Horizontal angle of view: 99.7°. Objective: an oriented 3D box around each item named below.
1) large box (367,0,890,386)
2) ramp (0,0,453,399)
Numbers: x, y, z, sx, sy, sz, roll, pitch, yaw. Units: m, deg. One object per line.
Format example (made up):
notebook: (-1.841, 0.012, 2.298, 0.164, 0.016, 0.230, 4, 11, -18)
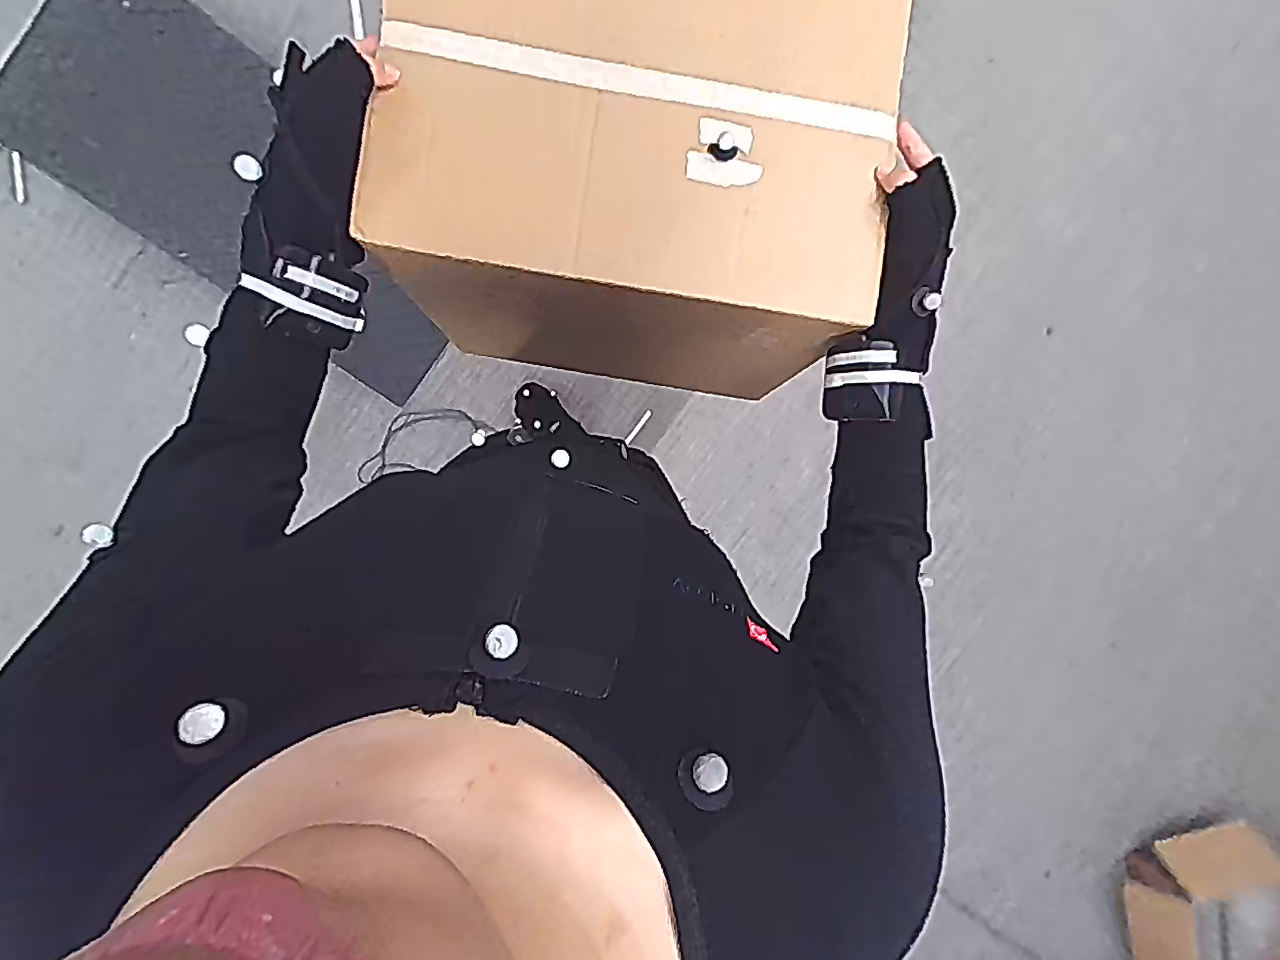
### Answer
large box: (-0.011, -0.307, 0.584, 0.408, 0.320, 0.320, 8, 87, -4)
ramp: (-0.867, -0.682, 1.283, 0.991, 0.206, 0.509, 35, 92, -6)
